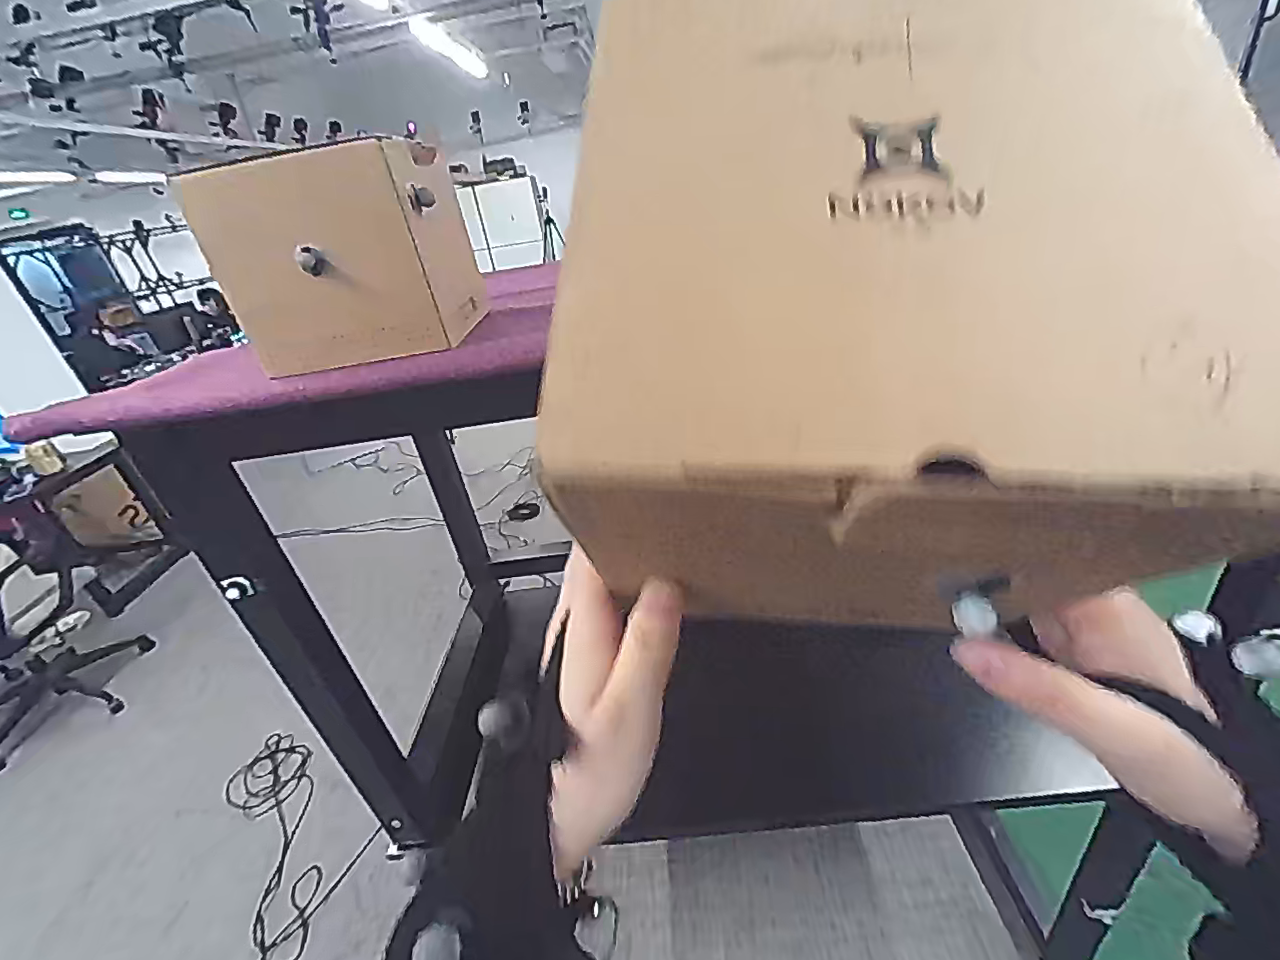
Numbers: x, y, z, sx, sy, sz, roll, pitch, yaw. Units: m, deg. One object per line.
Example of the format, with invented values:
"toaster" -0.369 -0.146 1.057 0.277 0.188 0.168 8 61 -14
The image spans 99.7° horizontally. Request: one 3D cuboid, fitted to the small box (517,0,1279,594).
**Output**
"small box" 0.068 -0.059 0.202 0.168 0.176 0.179 1 67 5
